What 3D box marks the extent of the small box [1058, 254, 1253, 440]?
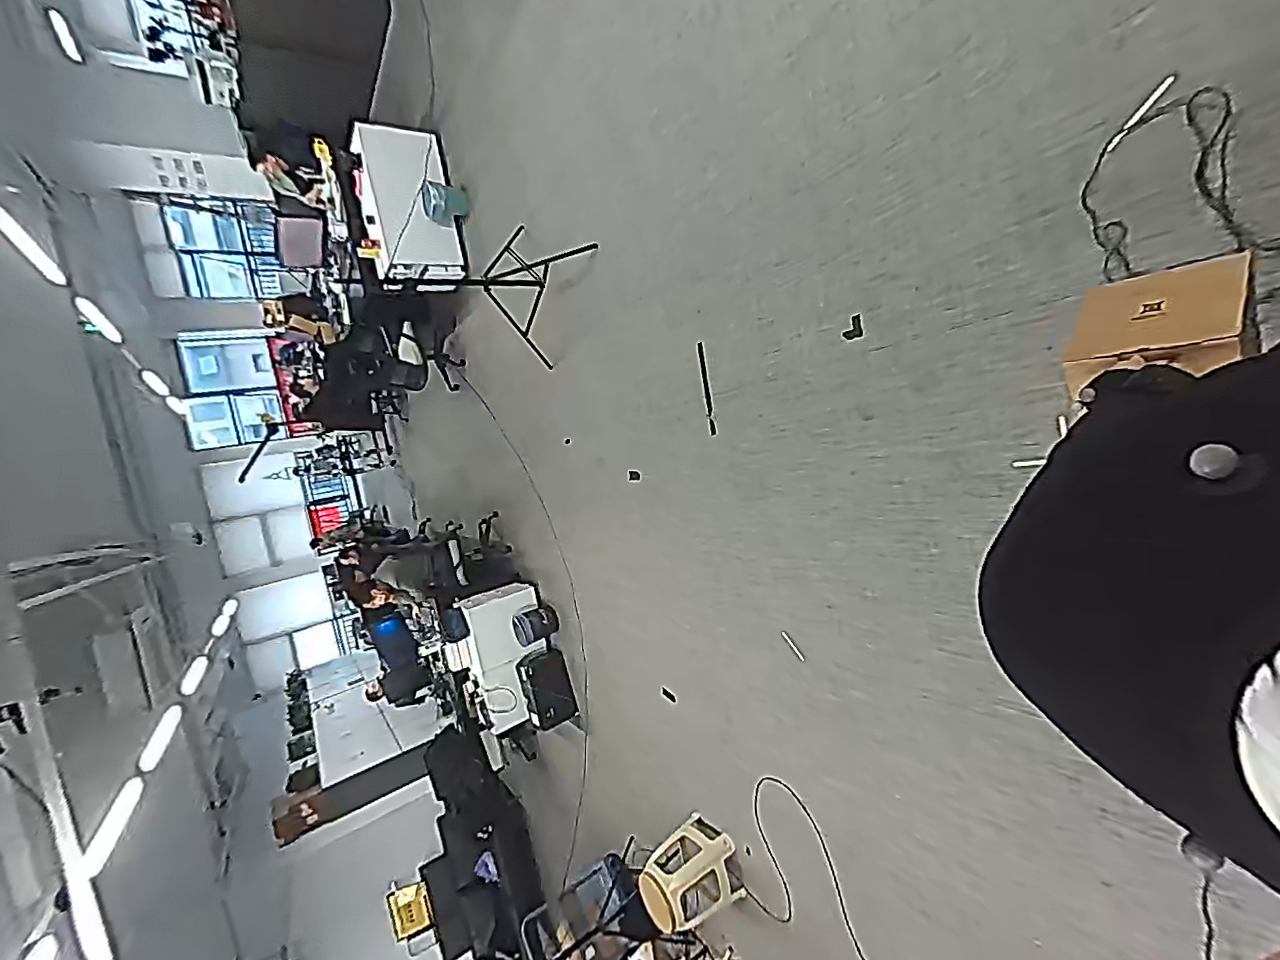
[{"bbox_3d":[0.711,-0.167,0.743,0.168,0.179,0.176,0,137,52],"label":"small box"}]
